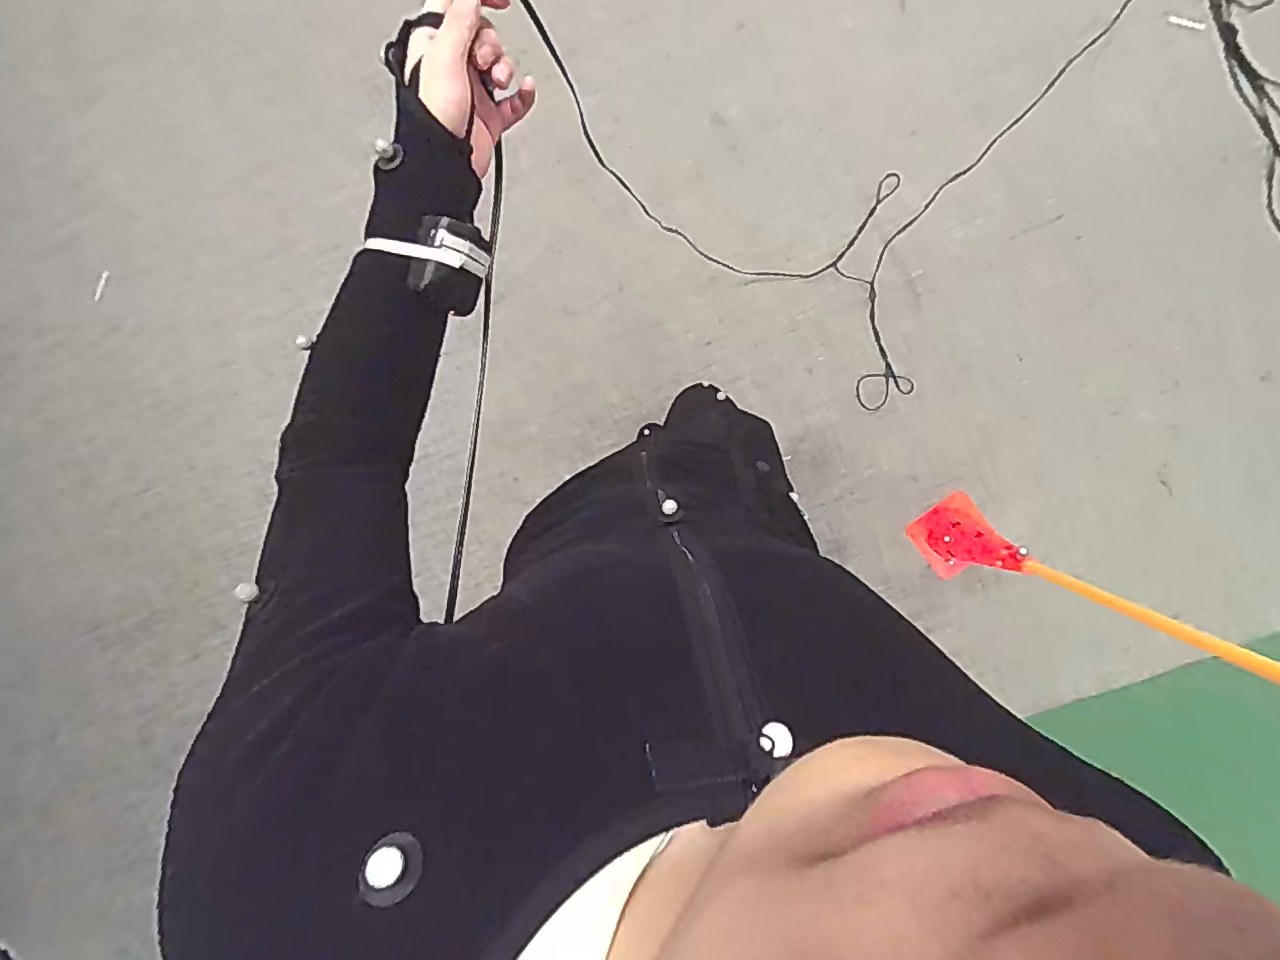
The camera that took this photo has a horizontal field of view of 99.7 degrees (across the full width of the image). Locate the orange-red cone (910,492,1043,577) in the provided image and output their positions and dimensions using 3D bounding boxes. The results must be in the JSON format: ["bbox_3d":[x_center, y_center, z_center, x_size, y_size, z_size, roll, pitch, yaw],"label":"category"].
[{"bbox_3d":[0.901,0.175,1.393,0.199,0.360,0.198,-37,93,5],"label":"orange-red cone"}]
